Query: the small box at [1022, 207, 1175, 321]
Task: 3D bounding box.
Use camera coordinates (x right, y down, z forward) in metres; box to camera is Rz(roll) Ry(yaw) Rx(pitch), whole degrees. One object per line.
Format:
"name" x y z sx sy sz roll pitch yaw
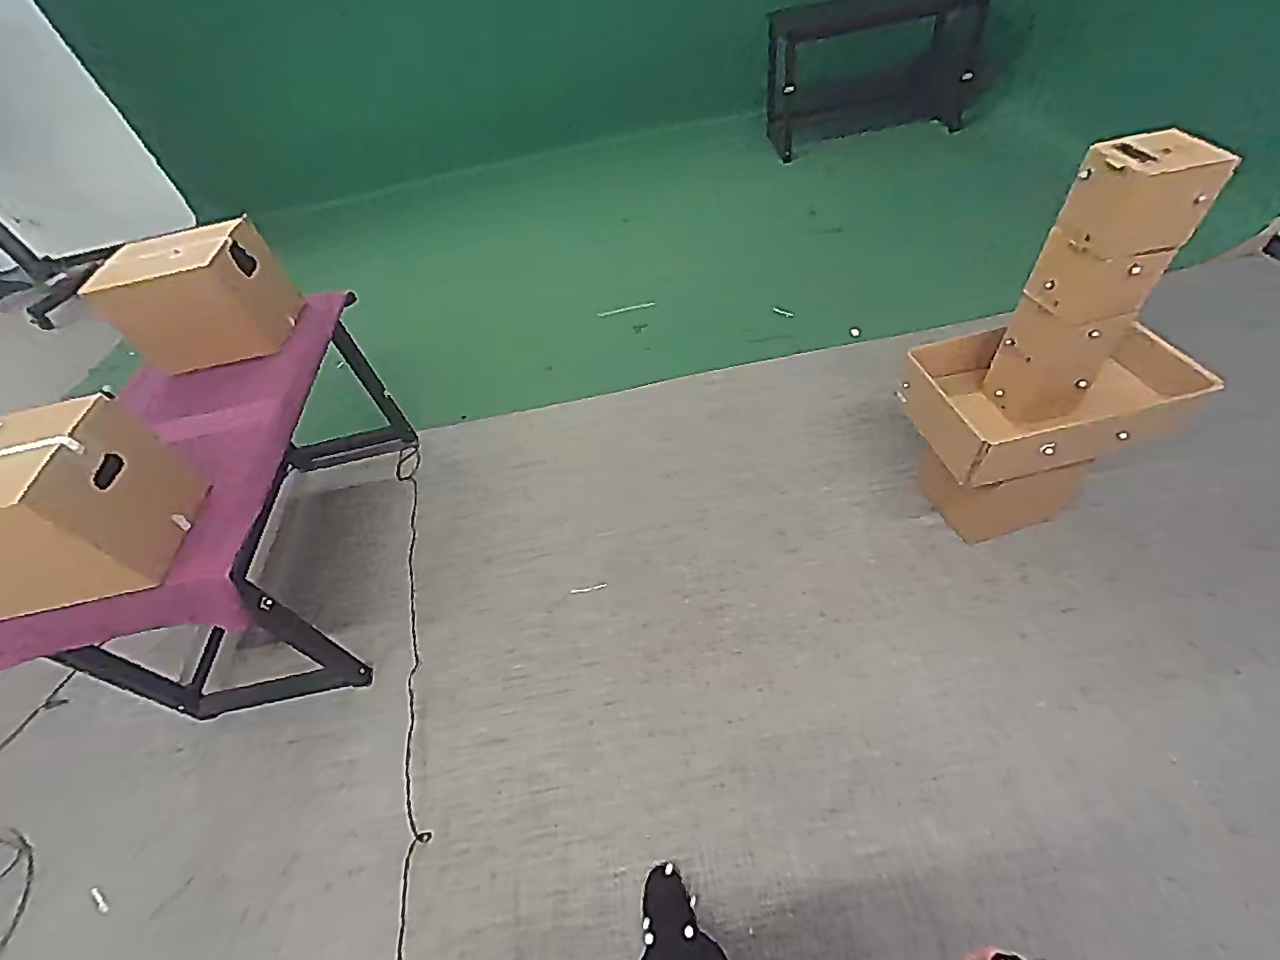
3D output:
"small box" 1.042 -0.495 1.248 0.179 0.176 0.168 -15 50 -2

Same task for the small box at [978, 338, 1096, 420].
"small box" 1.086 -0.290 1.497 0.179 0.176 0.168 -12 49 -1

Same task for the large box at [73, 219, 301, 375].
"large box" -1.400 -0.578 1.722 0.408 0.320 0.320 -11 51 1

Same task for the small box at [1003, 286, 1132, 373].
"small box" 1.066 -0.395 1.374 0.179 0.176 0.168 -13 50 -3
